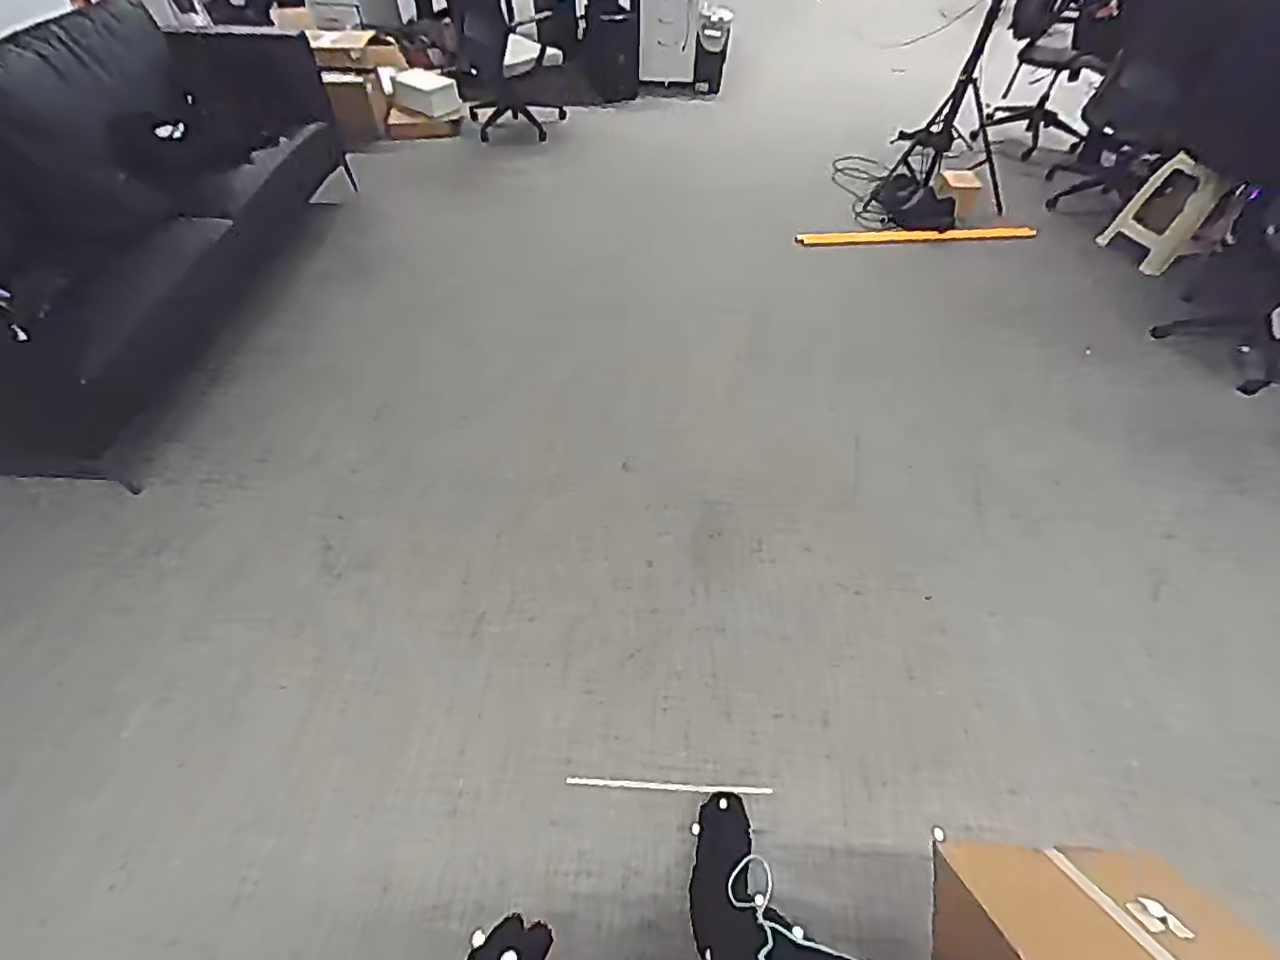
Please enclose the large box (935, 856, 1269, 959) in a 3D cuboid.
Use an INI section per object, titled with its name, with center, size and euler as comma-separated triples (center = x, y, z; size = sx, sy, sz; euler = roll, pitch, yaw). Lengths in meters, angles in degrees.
[large box]
center = 0.579, 0.704, 0.591
size = 0.320, 0.408, 0.320
euler = 2, 87, 3
